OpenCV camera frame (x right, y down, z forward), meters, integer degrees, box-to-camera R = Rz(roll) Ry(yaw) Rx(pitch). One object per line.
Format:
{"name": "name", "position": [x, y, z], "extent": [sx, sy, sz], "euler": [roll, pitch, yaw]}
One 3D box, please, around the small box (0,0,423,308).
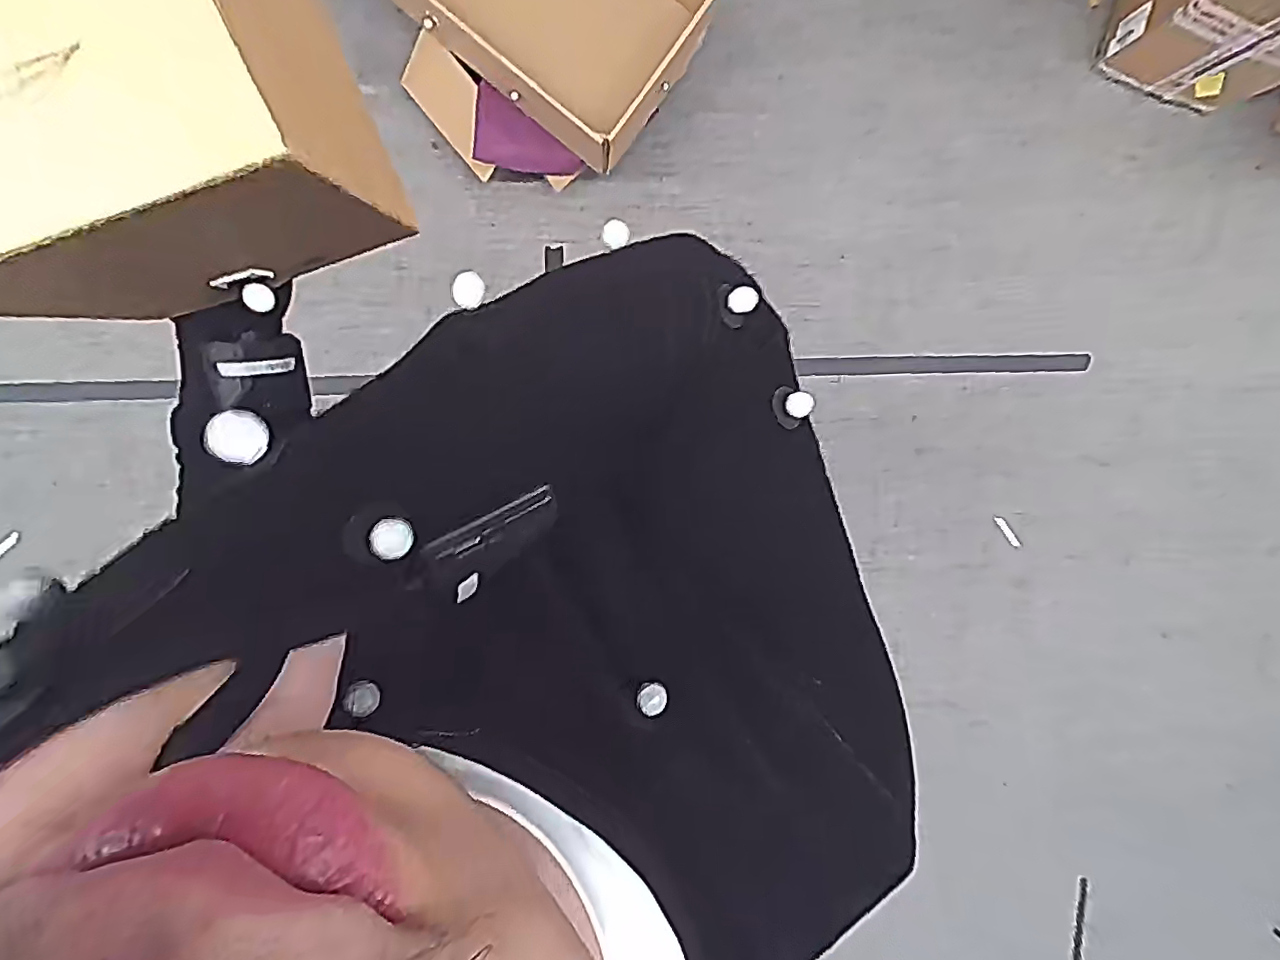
{"name": "small box", "position": [-0.228, -0.188, 0.244], "extent": [0.168, 0.176, 0.179], "euler": [-20, 108, 0]}
